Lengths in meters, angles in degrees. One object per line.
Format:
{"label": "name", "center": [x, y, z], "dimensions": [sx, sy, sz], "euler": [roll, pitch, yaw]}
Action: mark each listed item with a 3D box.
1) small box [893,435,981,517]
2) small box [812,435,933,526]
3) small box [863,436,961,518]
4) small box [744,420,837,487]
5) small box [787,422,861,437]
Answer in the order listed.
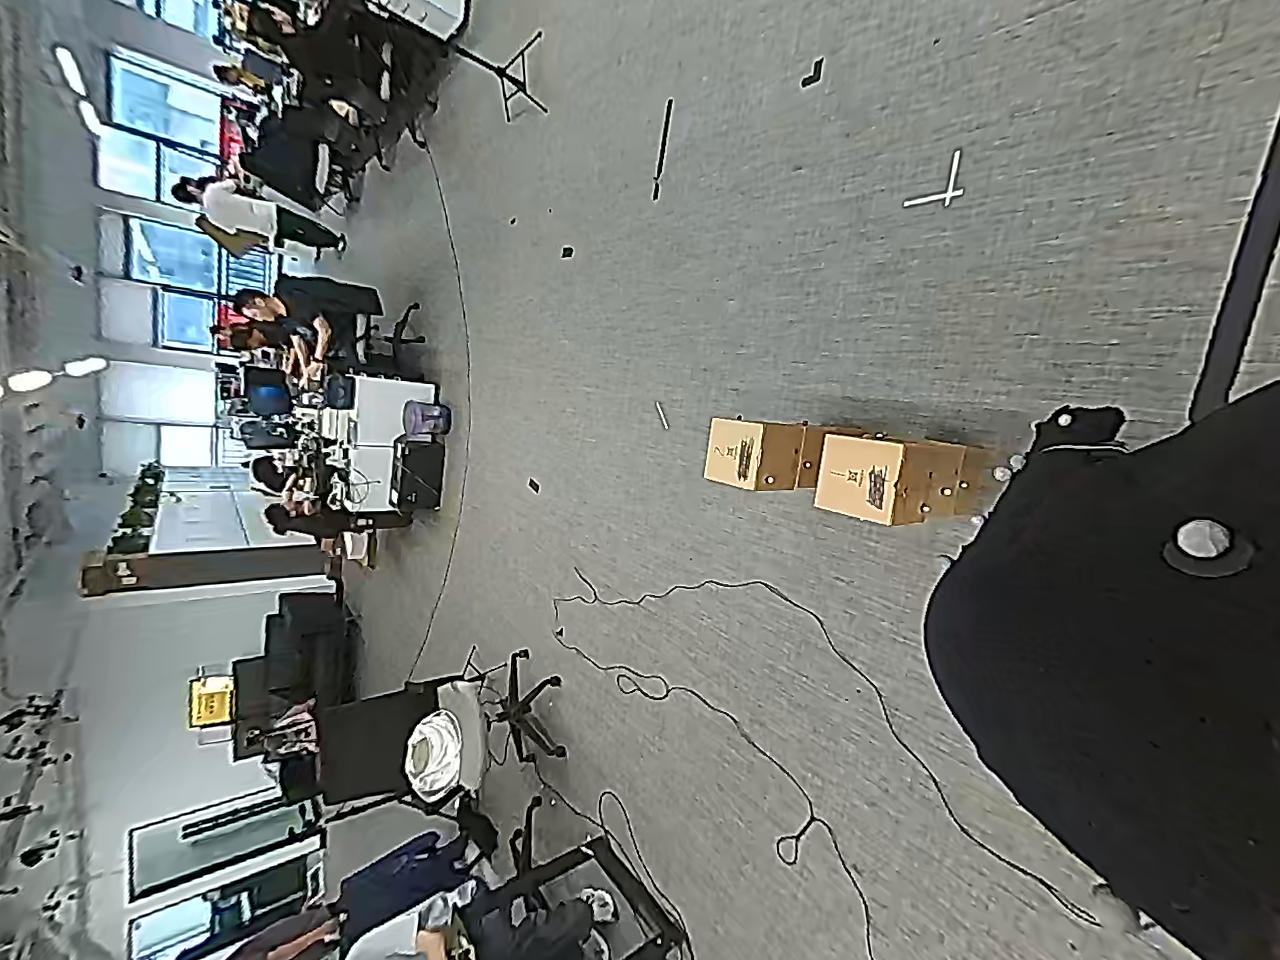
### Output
{"label": "small box", "center": [0.751, -0.013, 1.397], "dimensions": [0.168, 0.176, 0.179], "euler": [21, 105, 47]}
{"label": "small box", "center": [0.508, -0.005, 1.179], "dimensions": [0.179, 0.176, 0.168], "euler": [17, 103, 49]}
{"label": "small box", "center": [0.633, -0.012, 1.286], "dimensions": [0.179, 0.176, 0.168], "euler": [15, 102, 48]}
{"label": "small box", "center": [0.425, -0.074, 1.525], "dimensions": [0.179, 0.176, 0.168], "euler": [15, 102, 50]}
{"label": "small box", "center": [0.547, -0.077, 1.636], "dimensions": [0.168, 0.176, 0.179], "euler": [16, 101, 48]}
